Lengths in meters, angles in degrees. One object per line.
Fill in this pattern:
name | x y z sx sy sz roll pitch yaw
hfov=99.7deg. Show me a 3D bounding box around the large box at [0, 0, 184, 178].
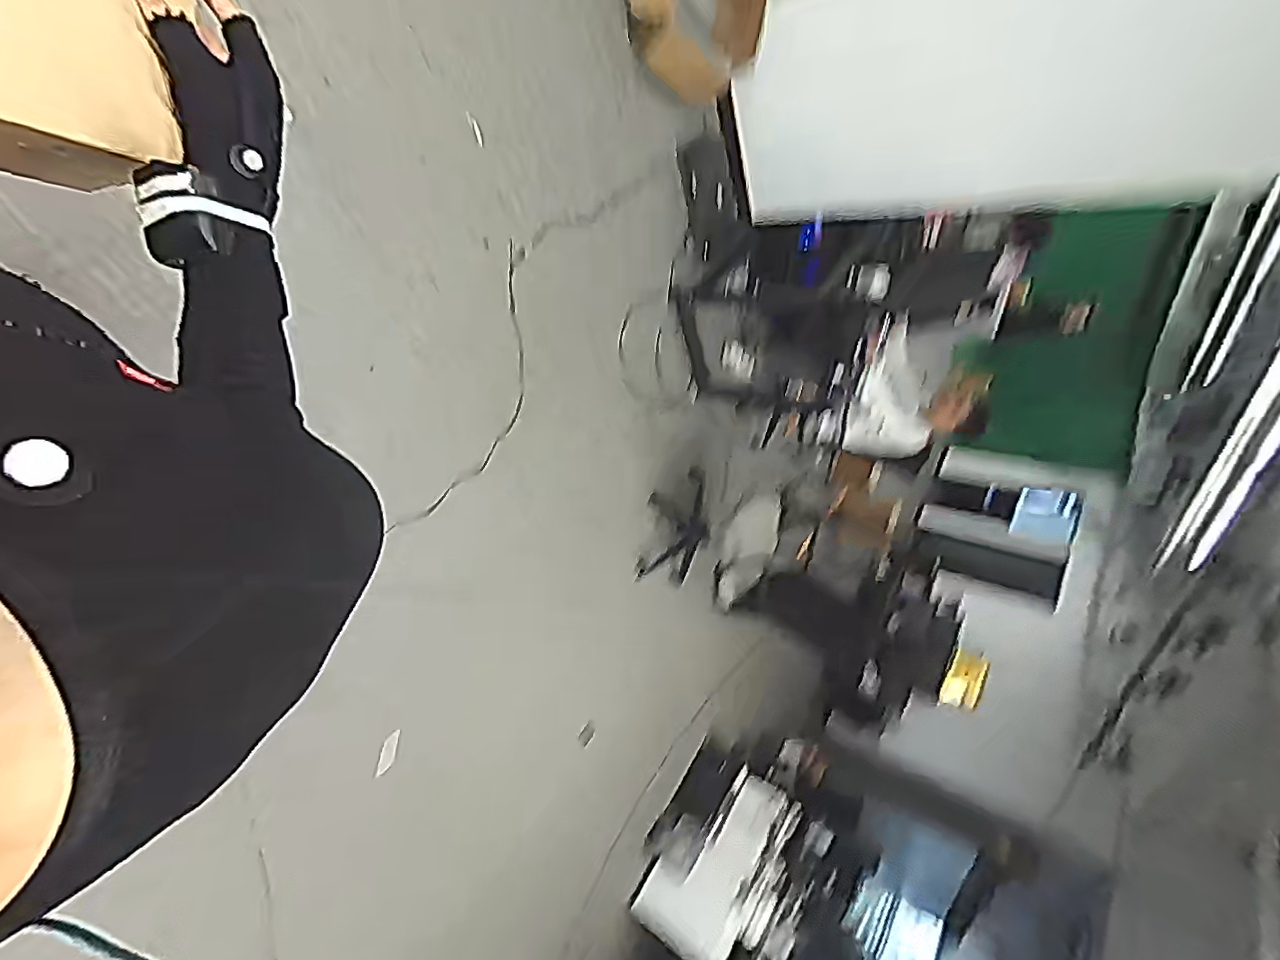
large box | -0.582 -0.415 0.316 0.408 0.320 0.320 -11 114 -55
